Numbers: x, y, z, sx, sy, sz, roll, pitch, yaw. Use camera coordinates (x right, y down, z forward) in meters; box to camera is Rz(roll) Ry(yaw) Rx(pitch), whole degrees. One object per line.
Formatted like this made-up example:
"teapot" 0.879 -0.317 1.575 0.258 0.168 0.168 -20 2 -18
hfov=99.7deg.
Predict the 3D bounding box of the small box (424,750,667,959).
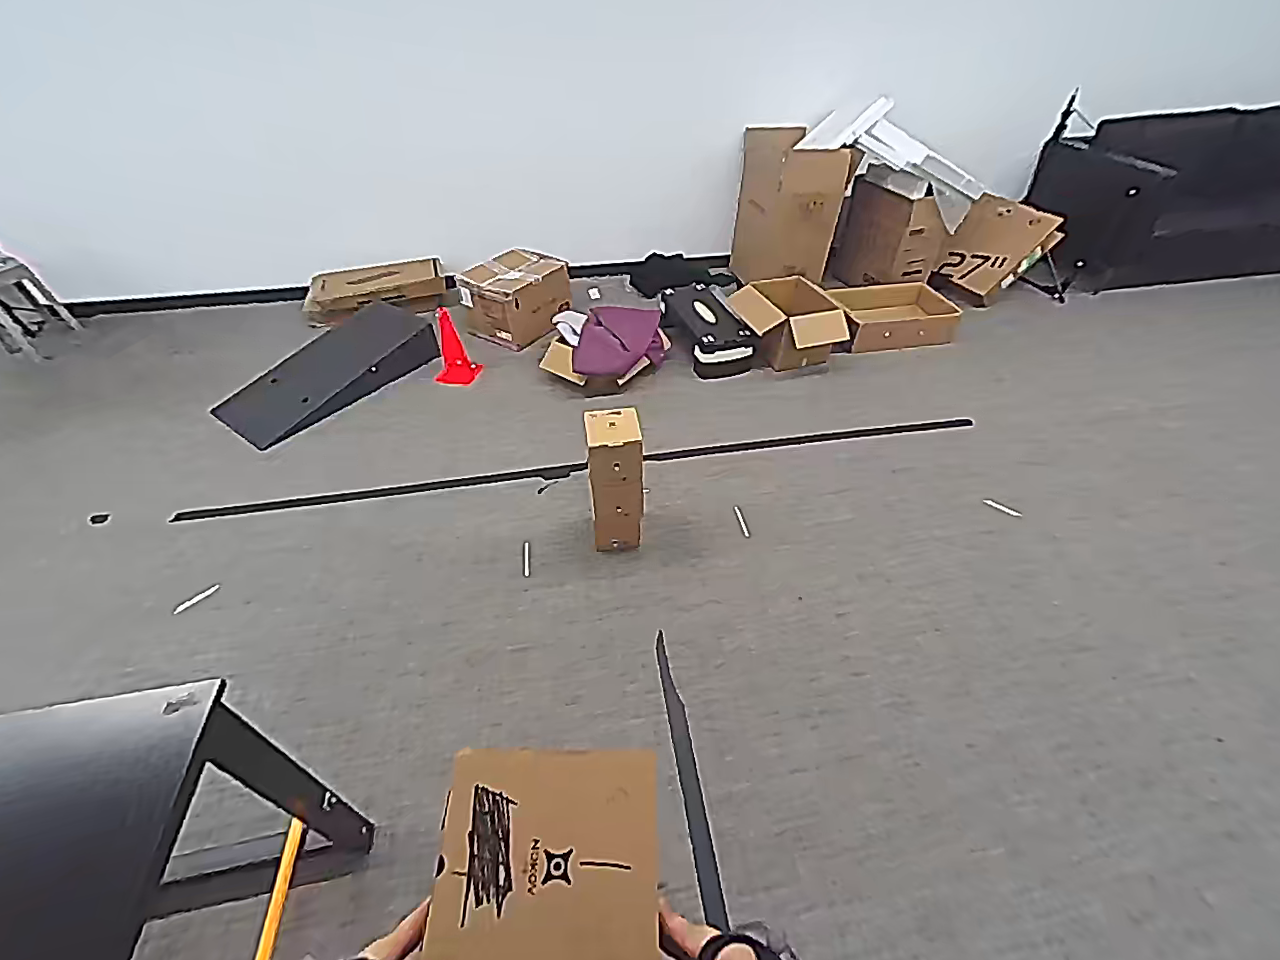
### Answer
"small box" -0.071 0.350 0.482 0.179 0.176 0.168 1 51 -3

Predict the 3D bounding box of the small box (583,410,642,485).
"small box" -0.086 -0.096 1.711 0.168 0.176 0.179 -7 44 -5

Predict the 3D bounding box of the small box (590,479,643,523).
"small box" -0.084 0.022 1.825 0.168 0.176 0.179 -7 44 -5

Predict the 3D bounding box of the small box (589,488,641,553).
"small box" -0.091 0.138 1.943 0.168 0.176 0.179 -8 45 -6
